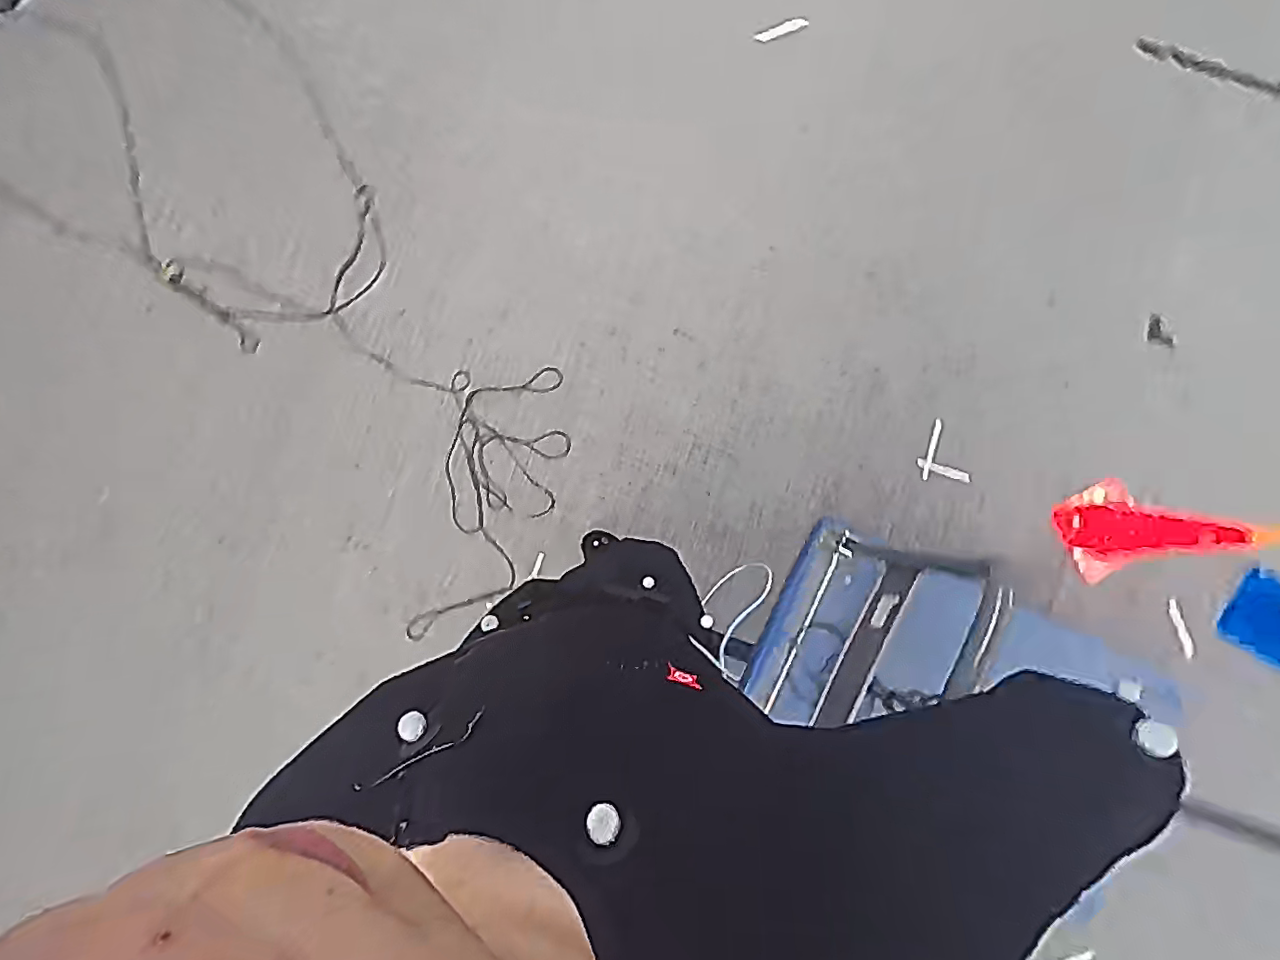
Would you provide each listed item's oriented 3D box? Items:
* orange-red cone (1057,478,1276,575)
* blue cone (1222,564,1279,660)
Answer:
[{"bbox_3d":[1.157,0.108,1.170,0.198,0.360,0.199,-27,88,0],"label":"orange-red cone"},{"bbox_3d":[1.548,0.318,1.164,0.192,0.380,0.193,33,88,4],"label":"blue cone"}]
